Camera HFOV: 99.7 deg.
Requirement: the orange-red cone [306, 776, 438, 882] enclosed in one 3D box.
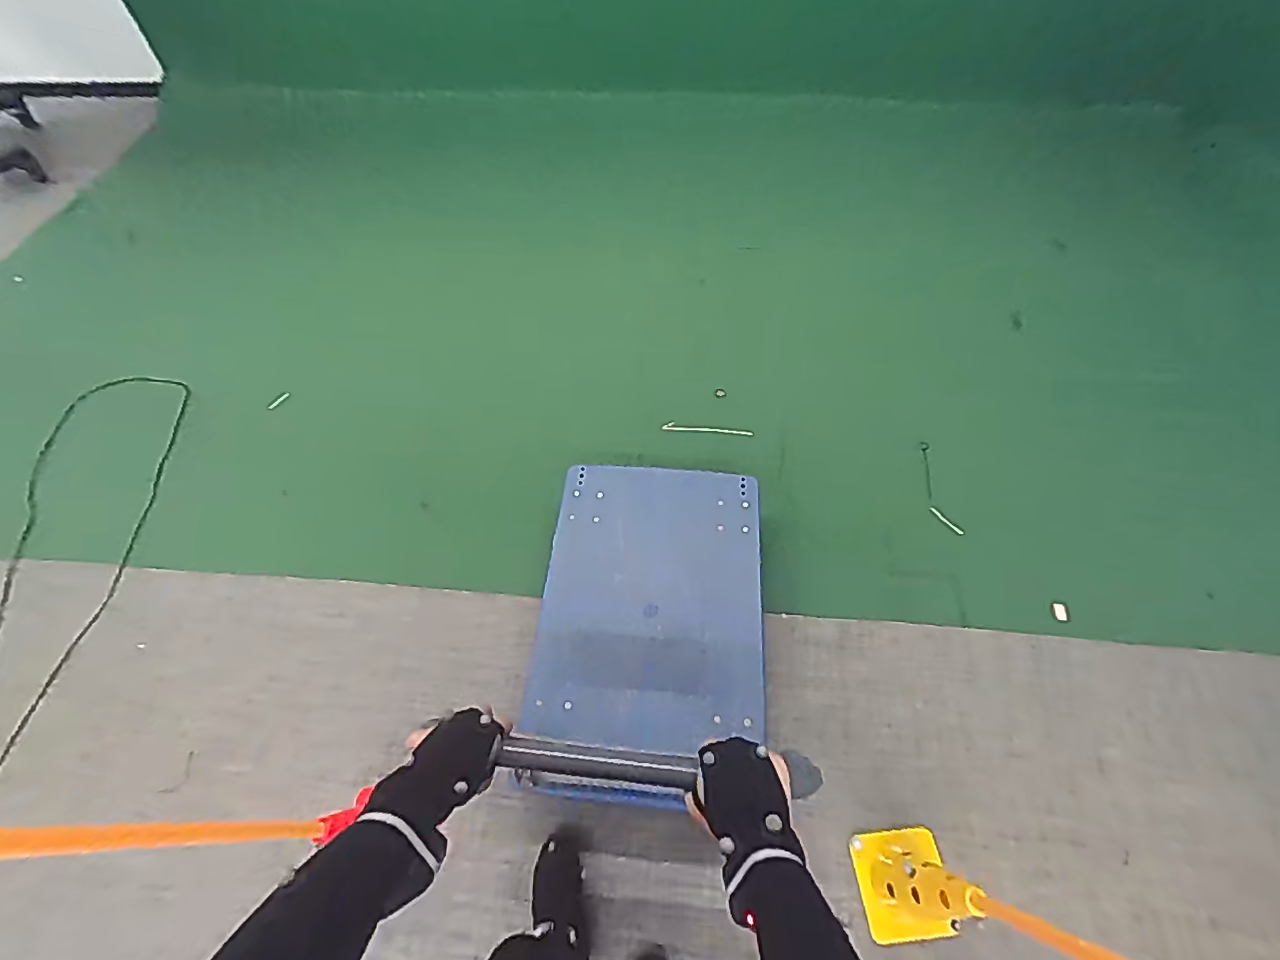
[{"bbox_3d":[-0.596,0.741,1.151,0.199,0.360,0.198,-9,58,-2],"label":"orange-red cone"}]
